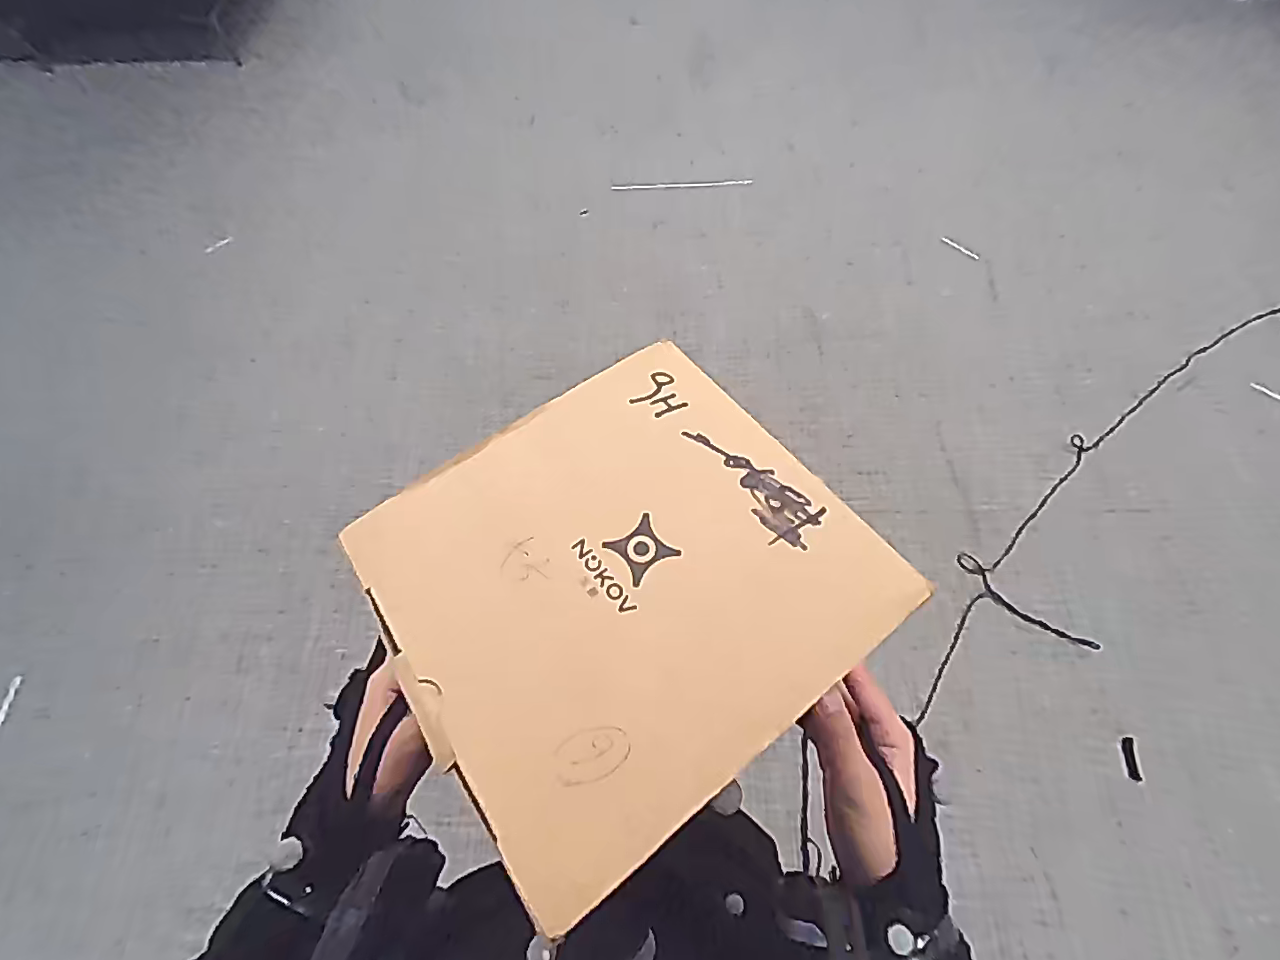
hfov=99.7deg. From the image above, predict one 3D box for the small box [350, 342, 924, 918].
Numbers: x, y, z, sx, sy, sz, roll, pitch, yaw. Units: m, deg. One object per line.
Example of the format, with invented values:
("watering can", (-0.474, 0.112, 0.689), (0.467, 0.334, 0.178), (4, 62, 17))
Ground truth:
("small box", (-0.003, 0.071, 0.284), (0.179, 0.176, 0.168), (-34, 64, -15))
